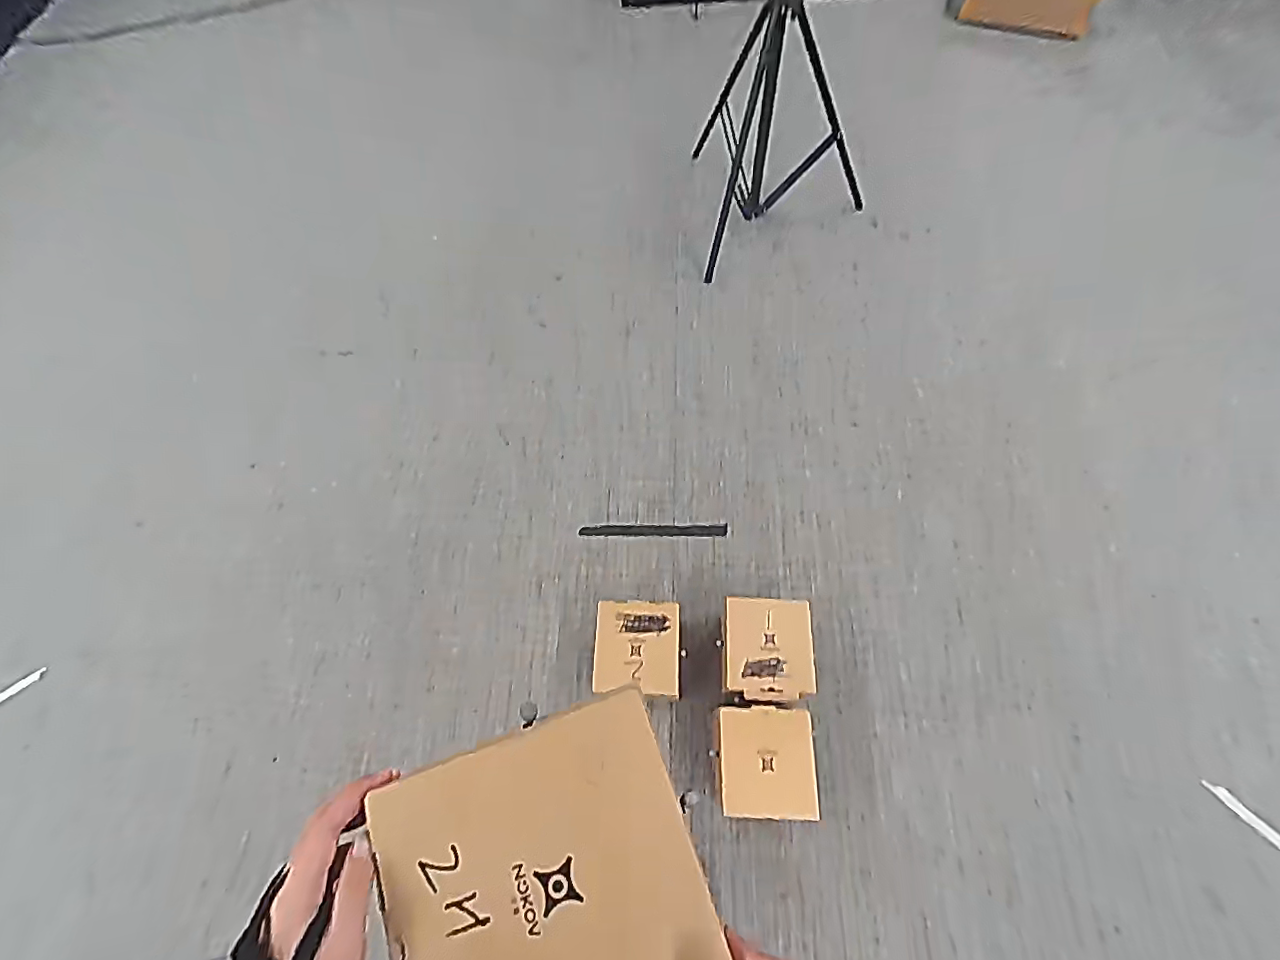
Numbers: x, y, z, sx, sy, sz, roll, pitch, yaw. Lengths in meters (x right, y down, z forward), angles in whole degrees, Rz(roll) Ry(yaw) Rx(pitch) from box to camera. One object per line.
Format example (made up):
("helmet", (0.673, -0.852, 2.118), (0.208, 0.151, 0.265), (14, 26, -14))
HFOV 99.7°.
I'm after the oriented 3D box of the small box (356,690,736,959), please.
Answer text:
("small box", (-0.055, 0.255, 0.370), (0.179, 0.176, 0.168), (-20, 72, -7))
